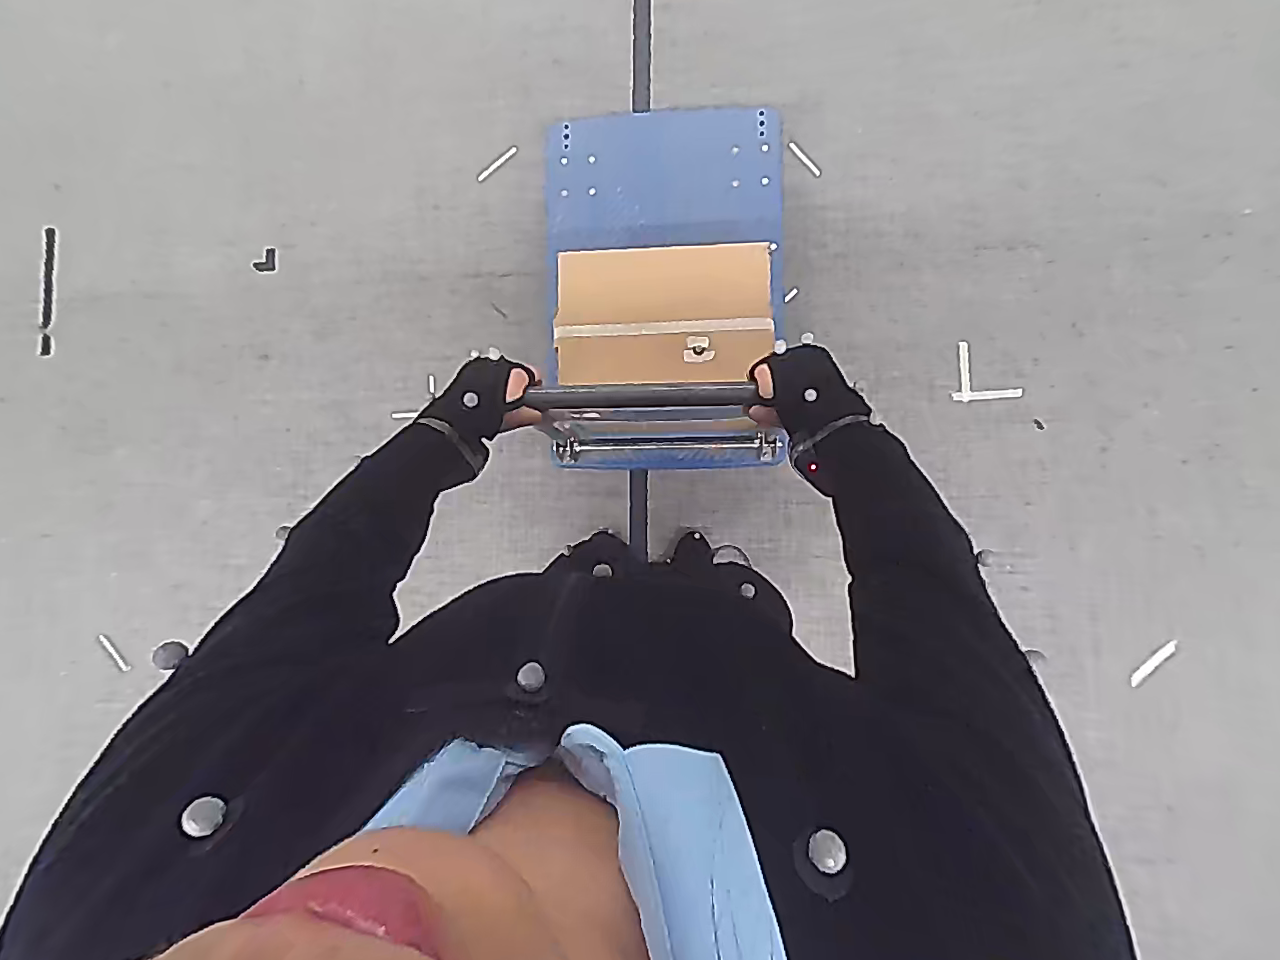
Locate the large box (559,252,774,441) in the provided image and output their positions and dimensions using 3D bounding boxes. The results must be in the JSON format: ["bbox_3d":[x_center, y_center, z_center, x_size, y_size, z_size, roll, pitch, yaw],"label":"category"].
[{"bbox_3d":[0.054,-0.260,1.158,0.408,0.320,0.320,-1,88,4],"label":"large box"}]
